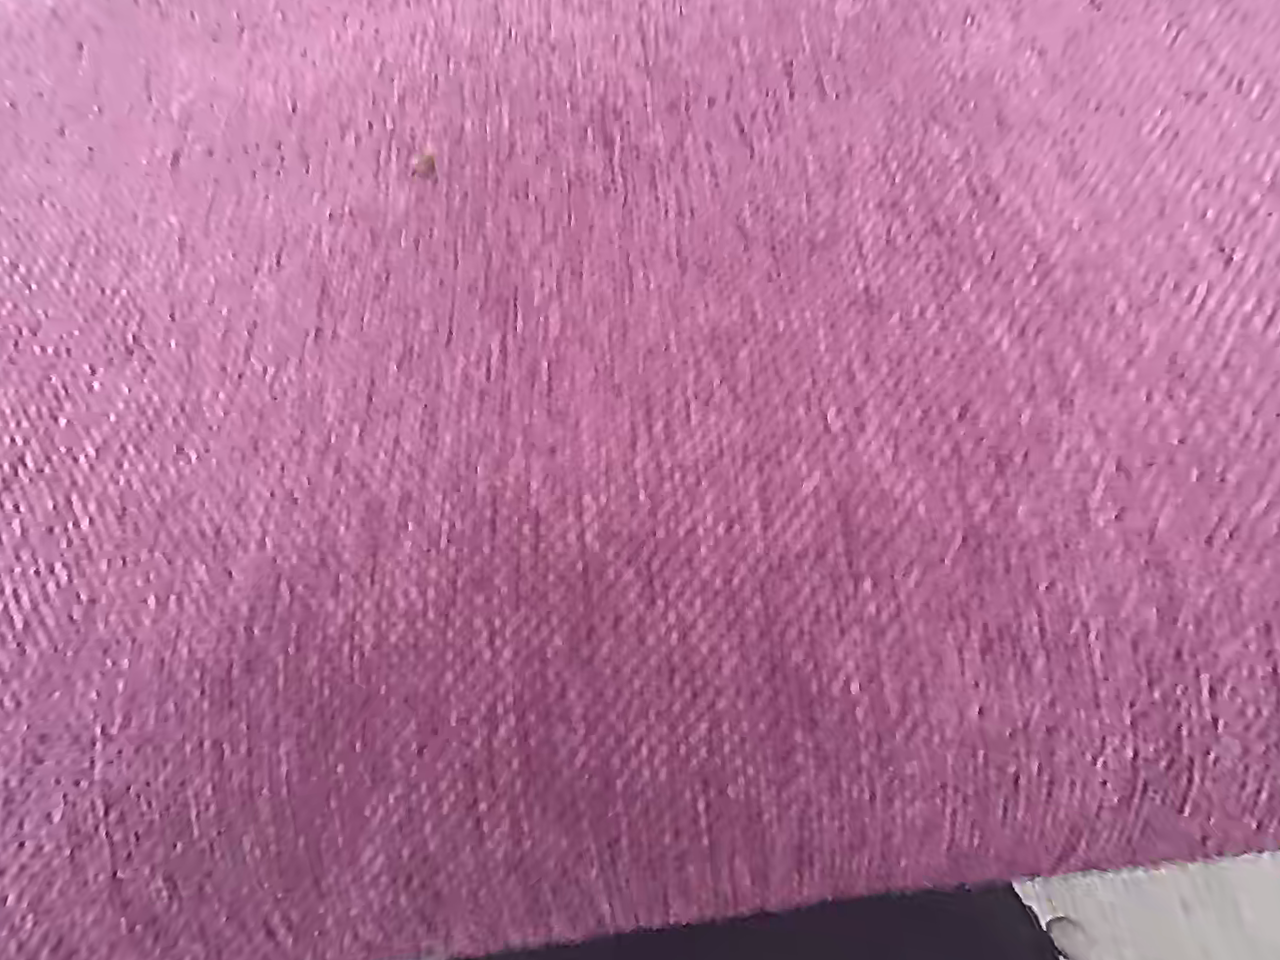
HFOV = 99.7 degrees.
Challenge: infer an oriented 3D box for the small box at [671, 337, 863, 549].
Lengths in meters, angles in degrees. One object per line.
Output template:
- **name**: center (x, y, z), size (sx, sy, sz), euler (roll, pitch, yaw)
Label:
- **small box**: center (0.132, -0.034, 0.630), size (0.168, 0.176, 0.179), euler (-11, 69, 3)

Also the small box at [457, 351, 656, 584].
- **small box**: center (-0.082, -0.005, 0.583), size (0.168, 0.176, 0.179), euler (-13, 66, 0)
